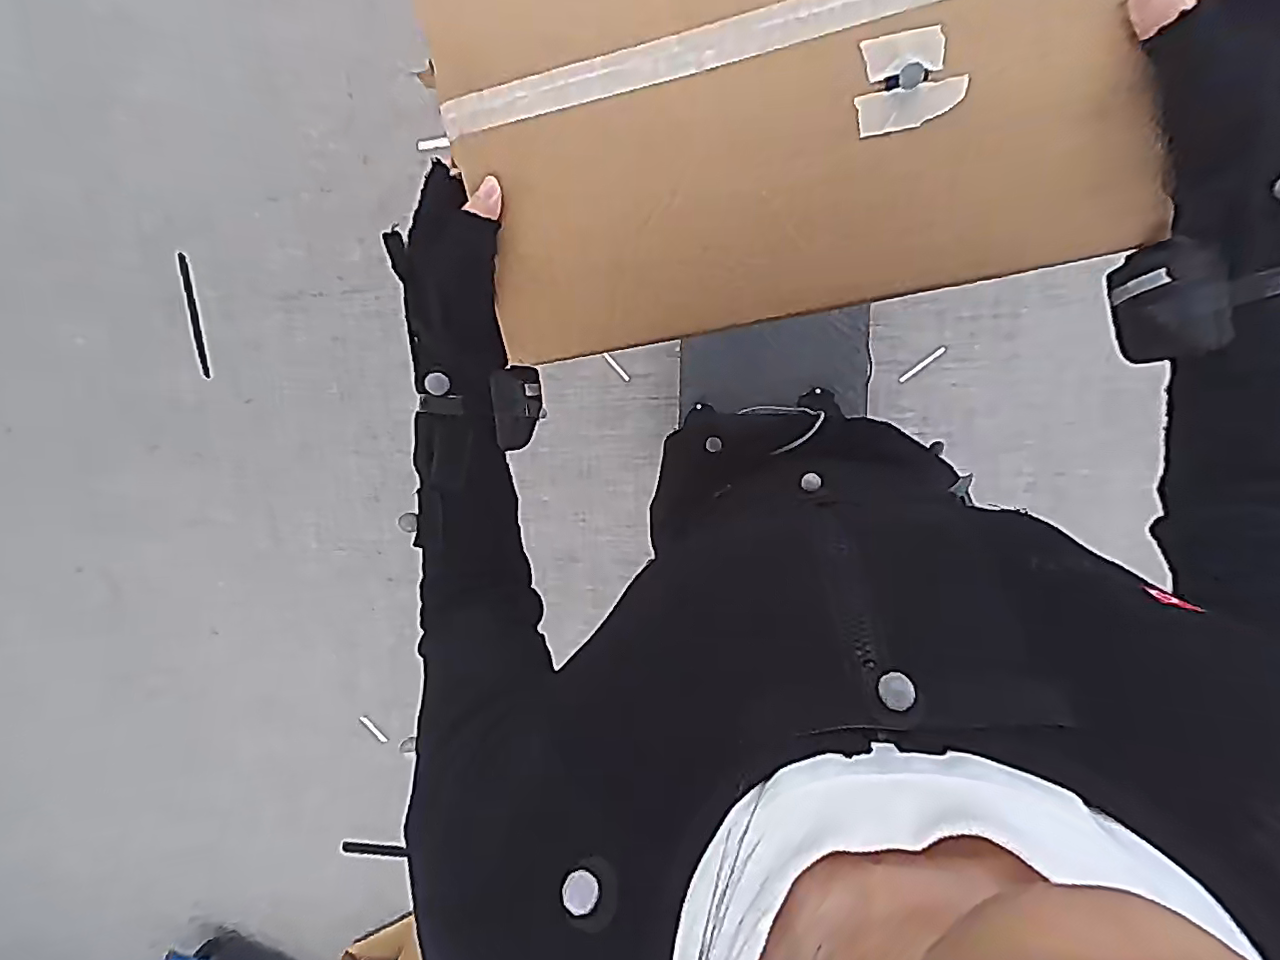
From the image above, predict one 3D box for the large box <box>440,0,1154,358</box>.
[{"bbox_3d":[0.098,-0.303,0.464,0.408,0.320,0.320,-9,105,9],"label":"large box"}]
